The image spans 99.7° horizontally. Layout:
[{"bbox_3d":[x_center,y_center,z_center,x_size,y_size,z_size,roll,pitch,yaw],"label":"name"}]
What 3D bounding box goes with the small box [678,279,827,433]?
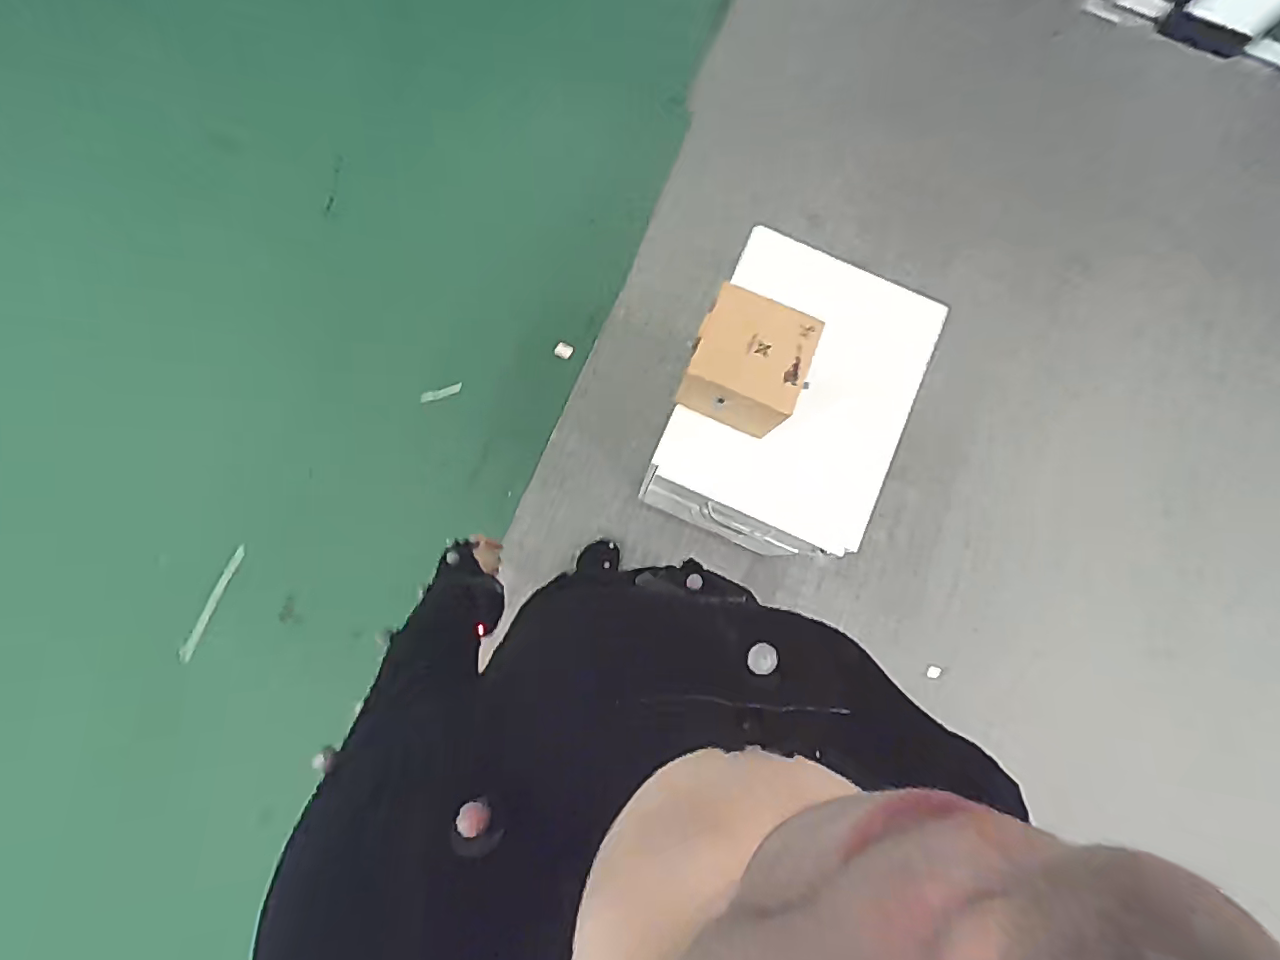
[{"bbox_3d":[0.175,-0.193,0.901,0.179,0.176,0.168,23,82,0],"label":"small box"}]
